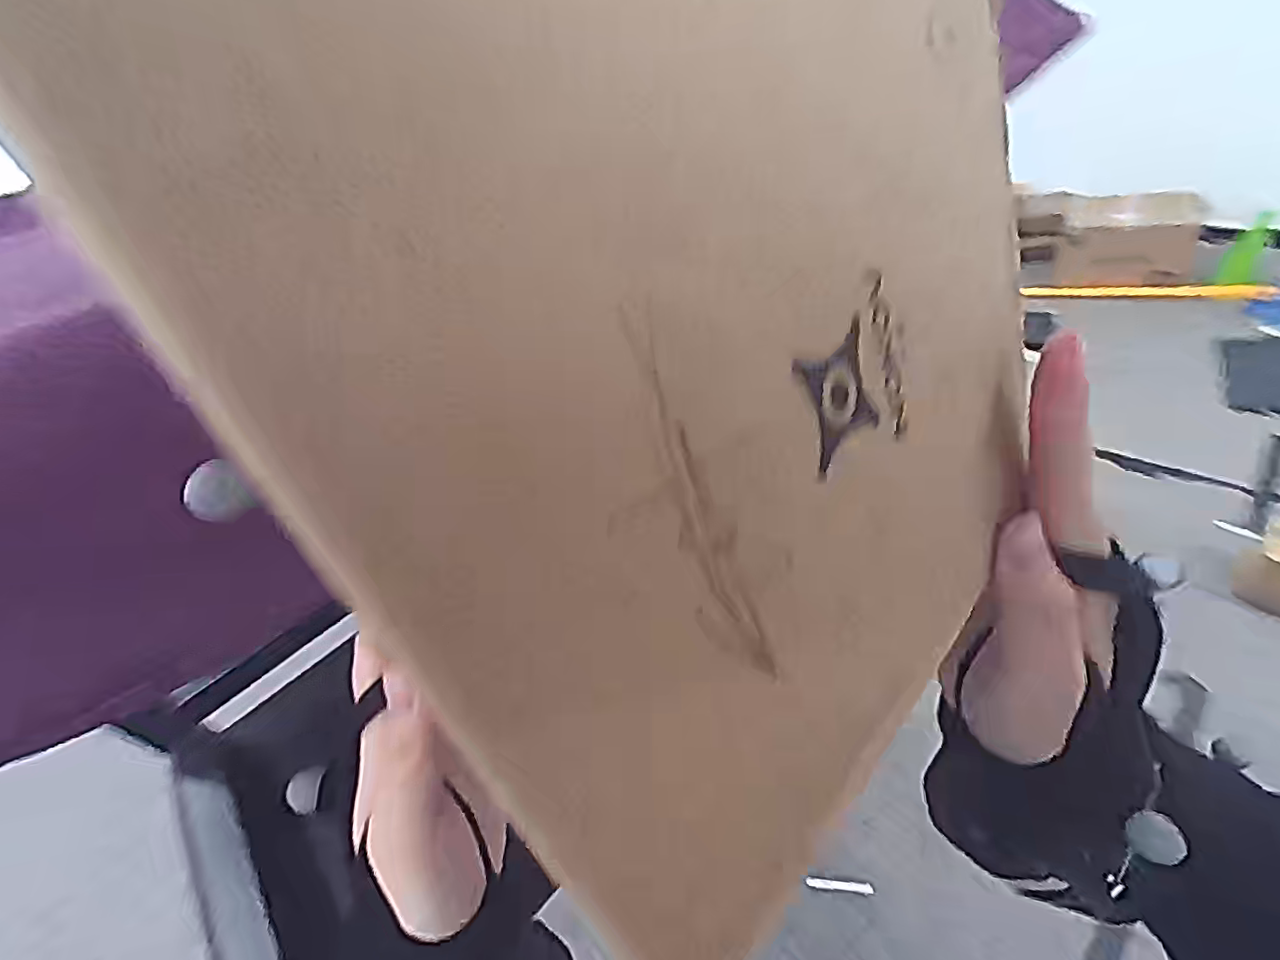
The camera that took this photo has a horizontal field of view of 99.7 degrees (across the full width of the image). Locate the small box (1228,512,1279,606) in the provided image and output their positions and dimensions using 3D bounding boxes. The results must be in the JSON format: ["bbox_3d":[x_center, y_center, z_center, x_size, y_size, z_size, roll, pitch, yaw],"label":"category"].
[{"bbox_3d":[1.702,0.221,1.400,0.179,0.176,0.168,28,57,37],"label":"small box"}]
